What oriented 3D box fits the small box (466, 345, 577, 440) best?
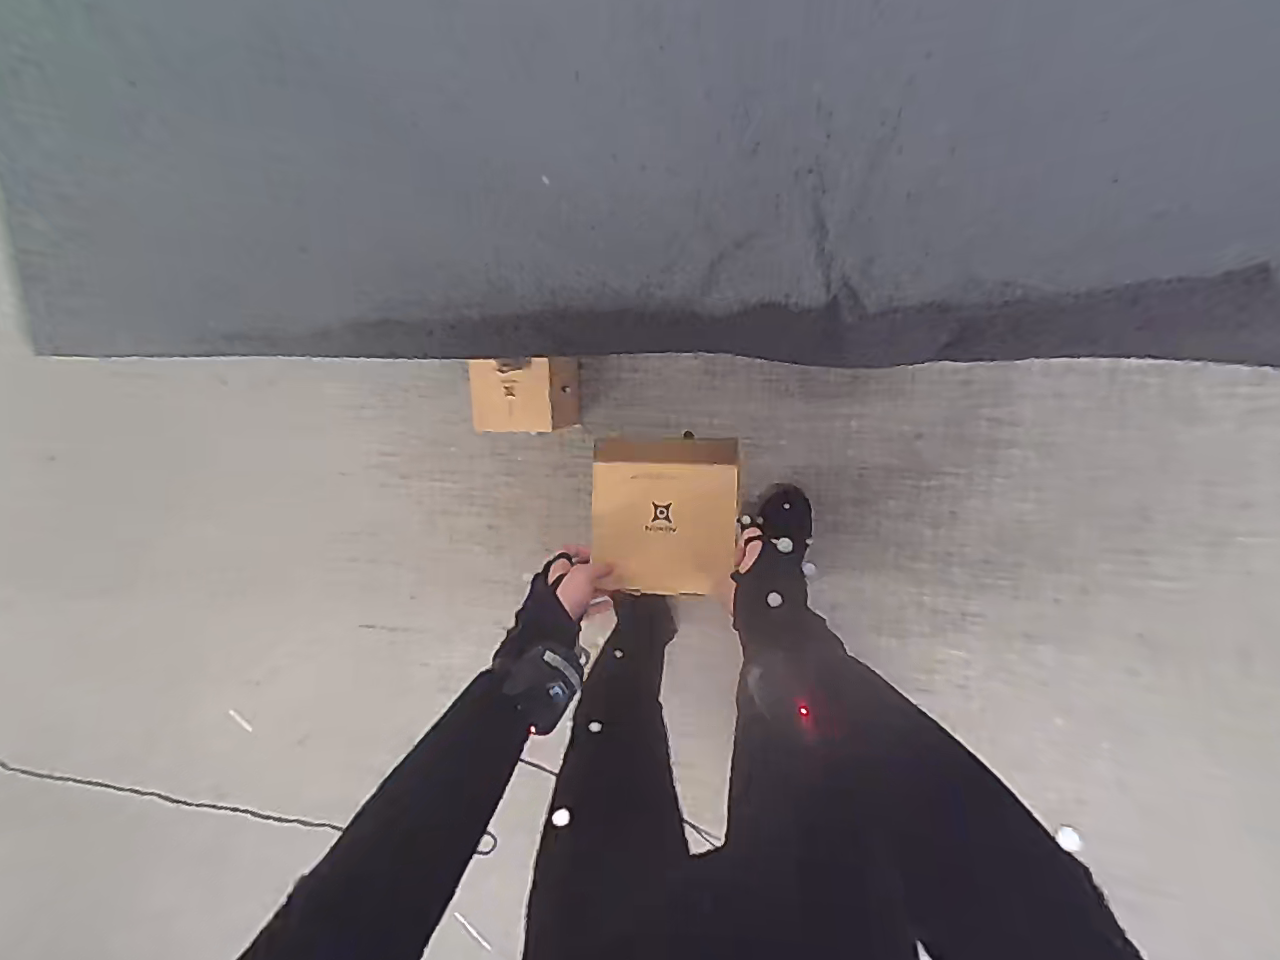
[{"bbox_3d":[-0.233,-0.176,1.100,0.168,0.176,0.179,0,101,12],"label":"small box"}]
